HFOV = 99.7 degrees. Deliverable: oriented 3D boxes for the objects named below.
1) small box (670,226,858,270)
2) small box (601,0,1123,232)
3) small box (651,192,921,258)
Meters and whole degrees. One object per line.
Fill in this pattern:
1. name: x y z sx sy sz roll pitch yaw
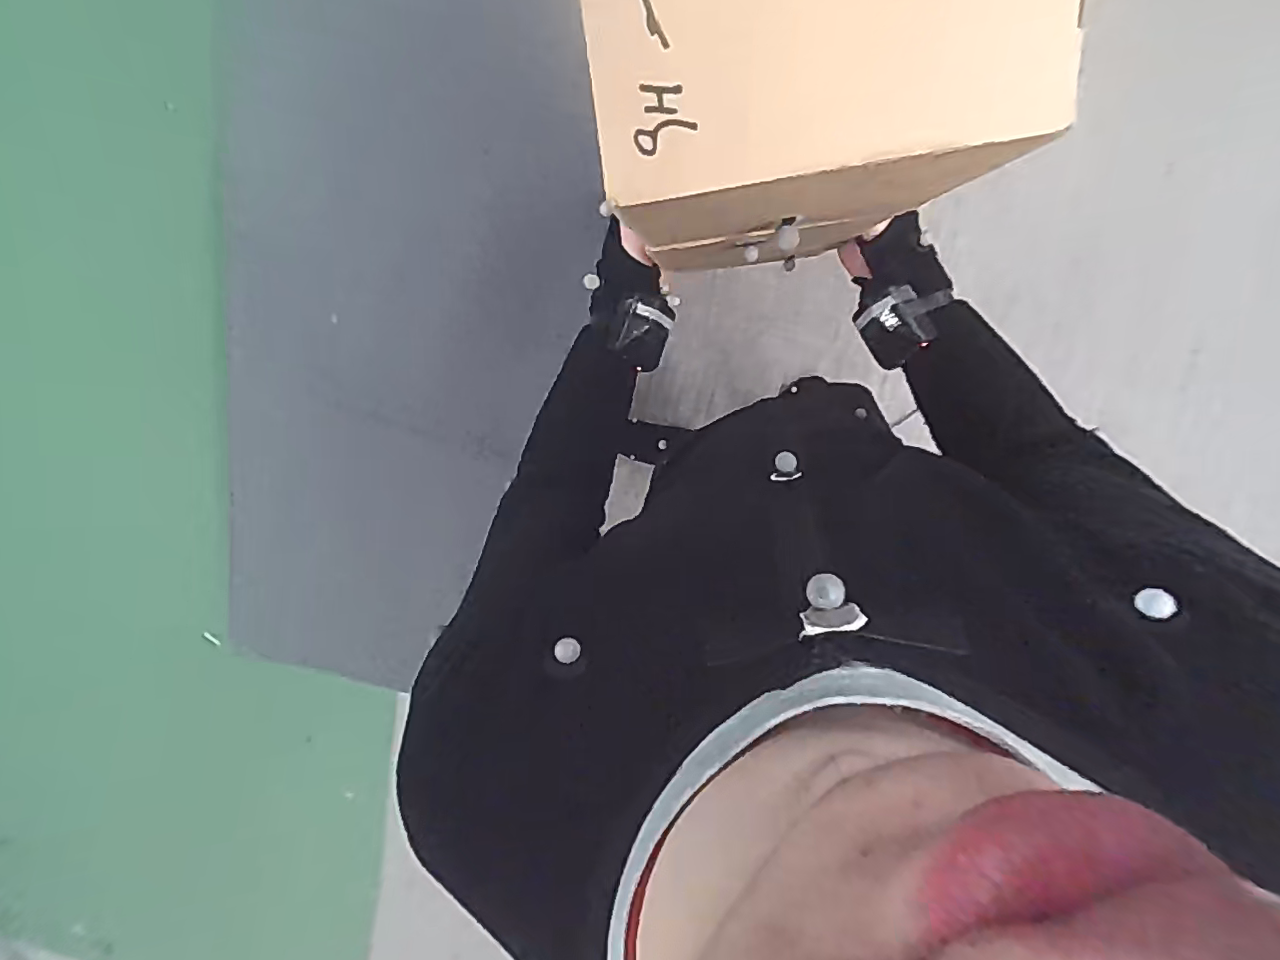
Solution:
1. small box: 0.116 -0.318 0.560 0.179 0.176 0.168 -4 106 10
2. small box: 0.077 -0.221 0.250 0.179 0.176 0.168 -5 107 8
3. small box: 0.094 -0.270 0.405 0.179 0.176 0.168 -5 107 8
